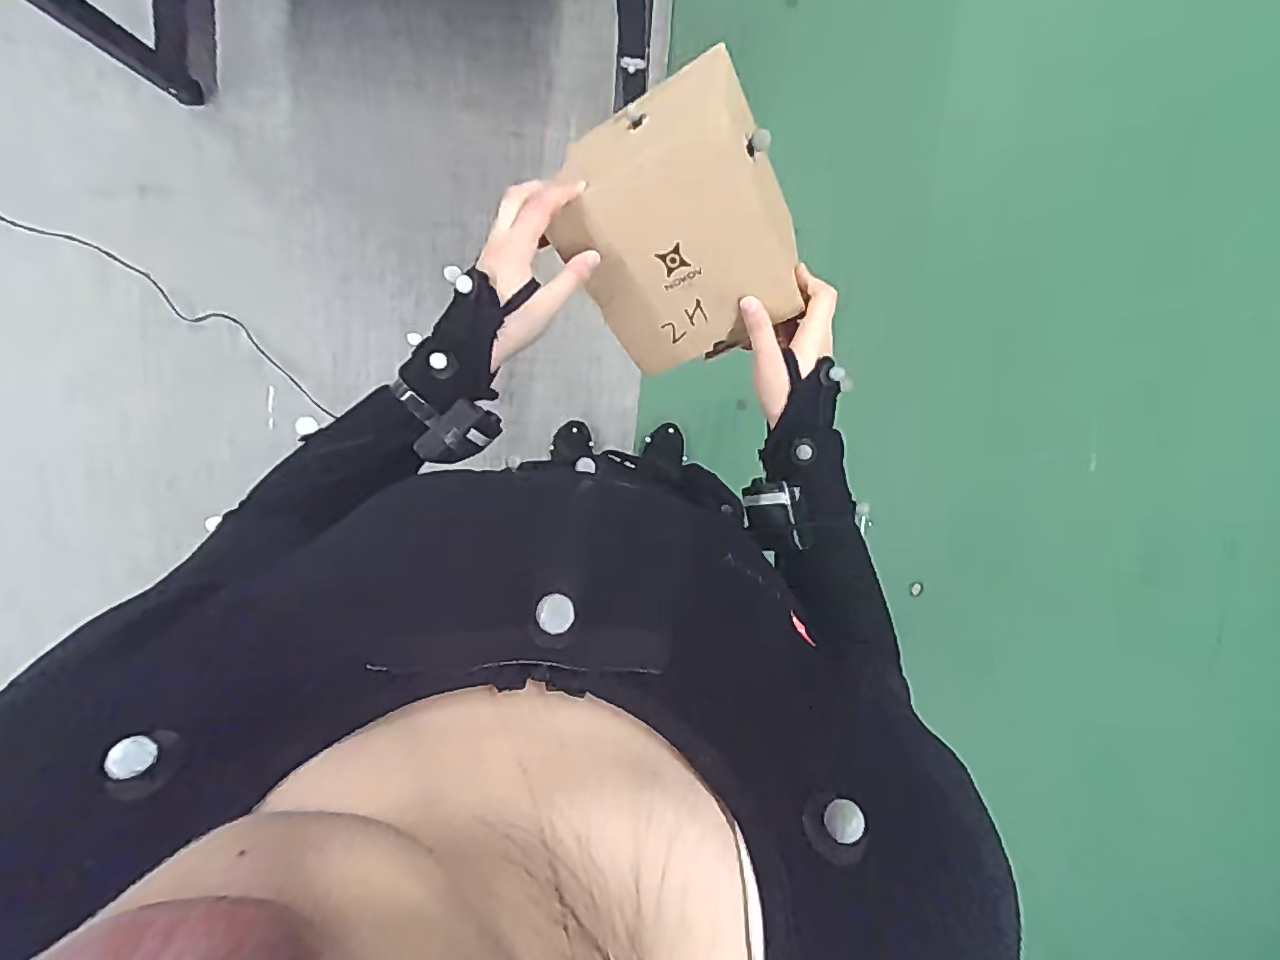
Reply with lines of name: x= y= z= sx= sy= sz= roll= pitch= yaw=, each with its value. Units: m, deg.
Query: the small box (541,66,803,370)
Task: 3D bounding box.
small box: x=0.038 y=-0.241 z=0.501 sx=0.168 sy=0.176 sz=0.179 roll=-17 pitch=135 yaw=27
